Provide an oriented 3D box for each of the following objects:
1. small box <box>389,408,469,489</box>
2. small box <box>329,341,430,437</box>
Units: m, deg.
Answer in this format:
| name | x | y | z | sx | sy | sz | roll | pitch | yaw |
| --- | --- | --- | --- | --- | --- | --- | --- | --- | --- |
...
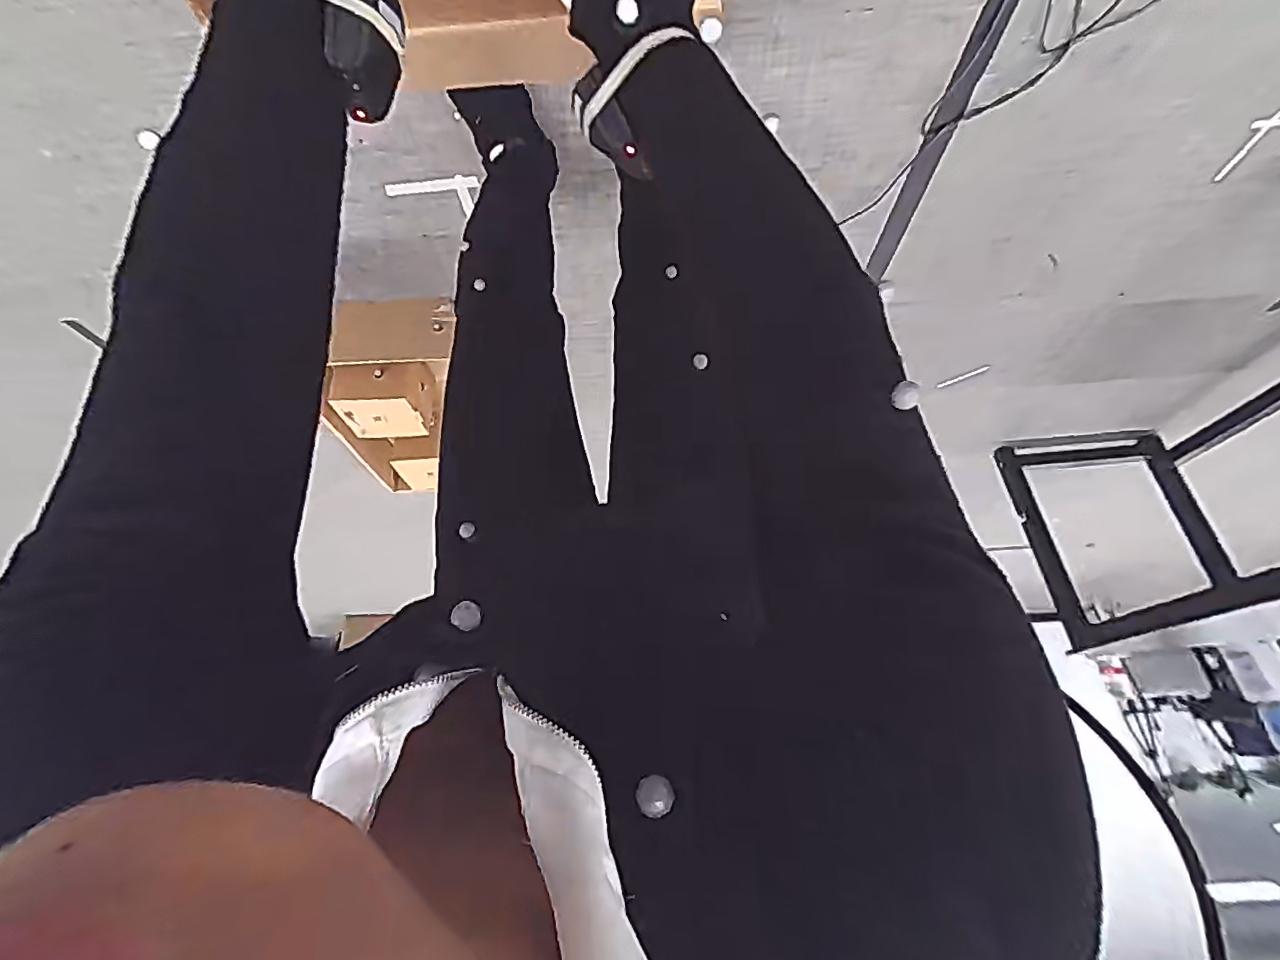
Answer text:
| name | x | y | z | sx | sy | sz | roll | pitch | yaw |
| --- | --- | --- | --- | --- | --- | --- | --- | --- | --- |
| small box | -0.602 | -0.090 | 1.567 | 0.168 | 0.176 | 0.179 | -4 | 151 | -2 |
| small box | -0.619 | -0.222 | 1.309 | 0.179 | 0.176 | 0.168 | -3 | 154 | -4 |
